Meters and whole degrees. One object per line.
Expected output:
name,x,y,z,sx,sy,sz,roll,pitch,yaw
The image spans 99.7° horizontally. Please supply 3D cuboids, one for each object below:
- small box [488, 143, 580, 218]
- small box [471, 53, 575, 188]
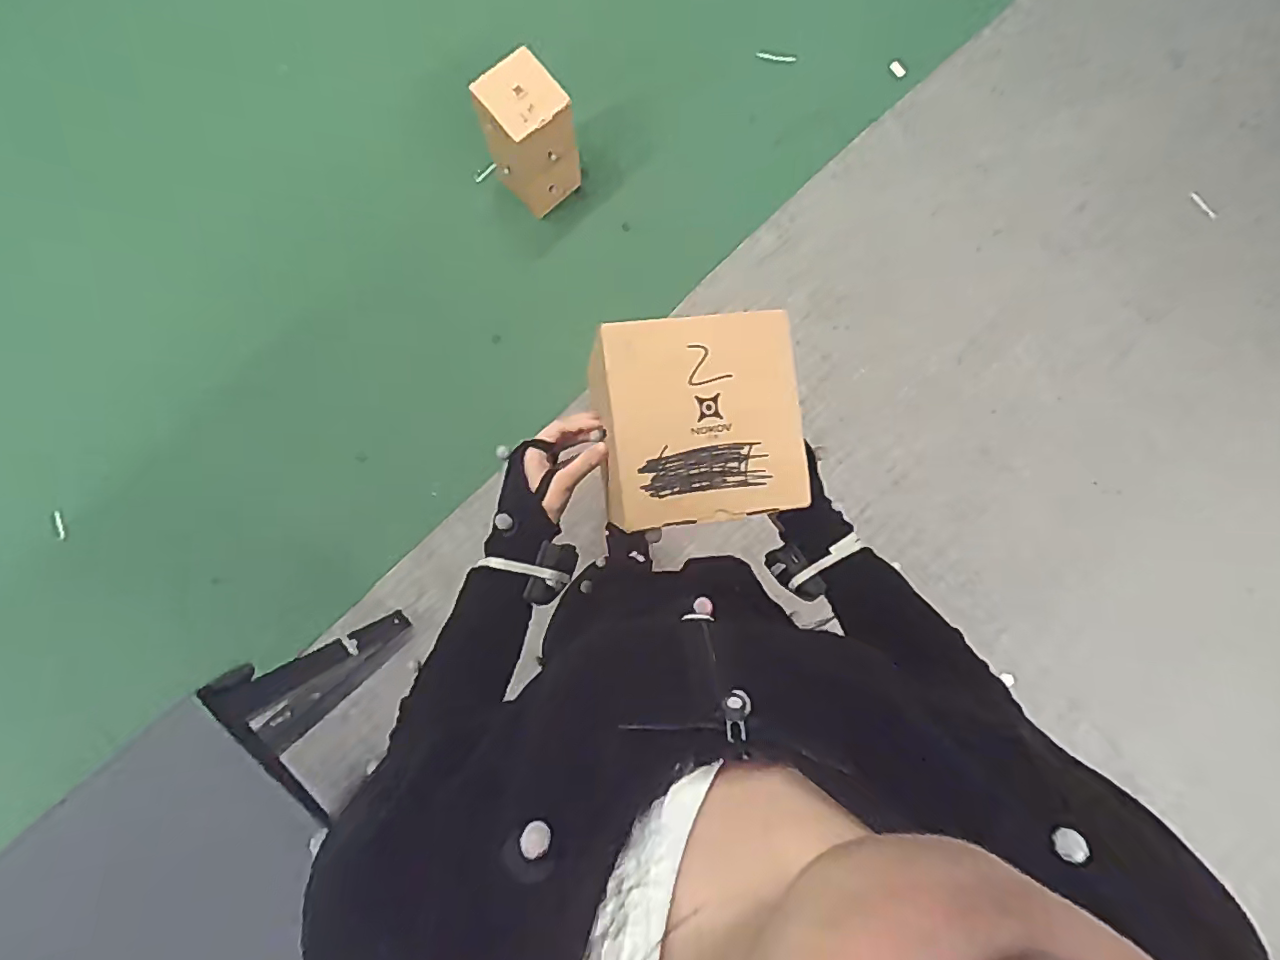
small box,-0.281,-0.856,1.483,0.168,0.176,0.179,-43,88,-4
small box,-0.277,-0.865,1.318,0.168,0.176,0.179,-40,89,-4
